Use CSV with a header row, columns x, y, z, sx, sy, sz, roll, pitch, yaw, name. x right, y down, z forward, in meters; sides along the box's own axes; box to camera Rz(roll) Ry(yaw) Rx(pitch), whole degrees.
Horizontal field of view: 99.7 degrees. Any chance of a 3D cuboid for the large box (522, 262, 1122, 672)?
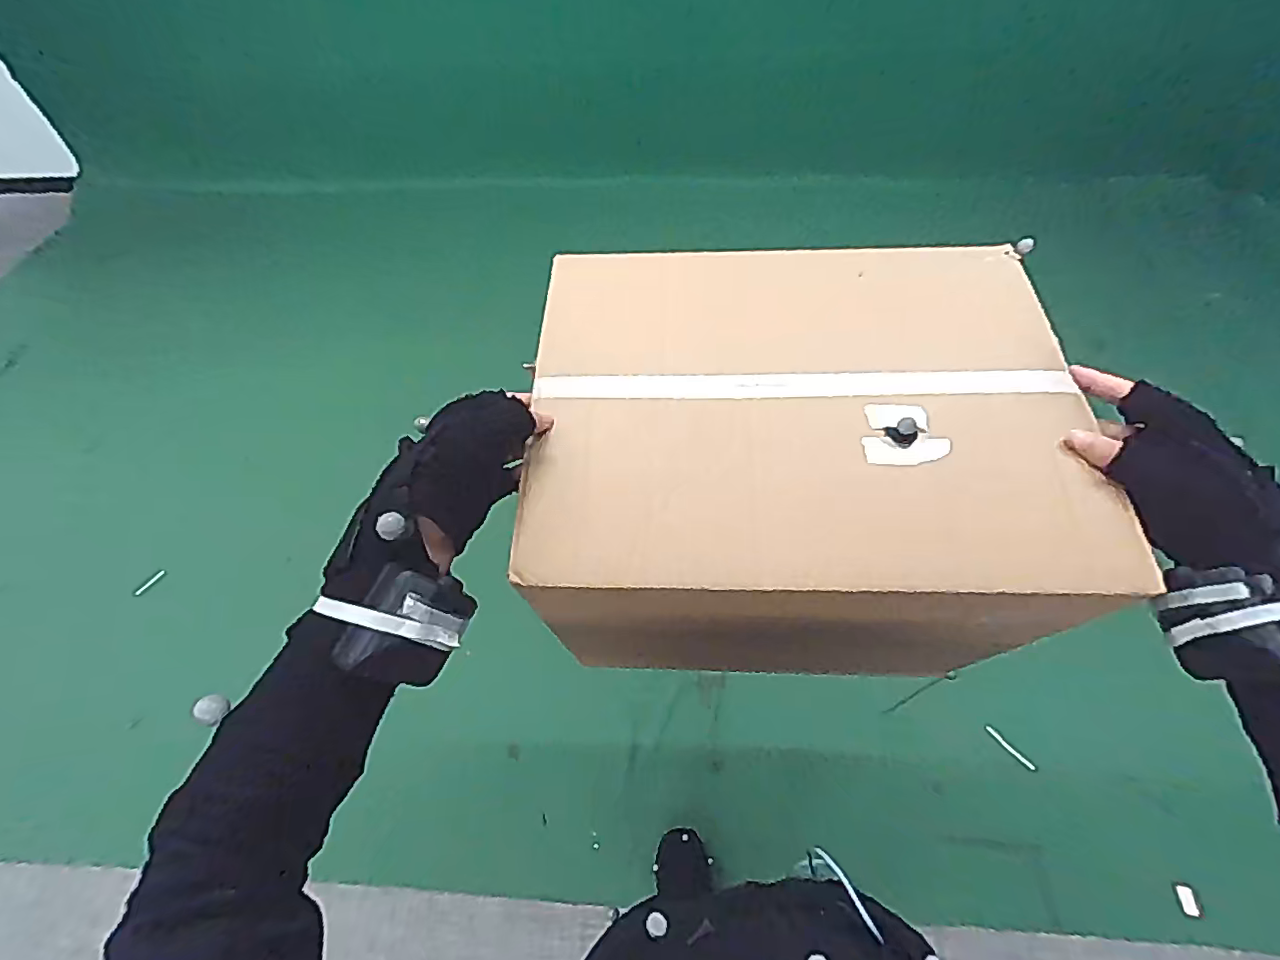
x,y,z,sx,sy,sz,roll,pitch,yaw,name
0.123,0.010,0.558,0.408,0.320,0.320,0,62,3,large box
